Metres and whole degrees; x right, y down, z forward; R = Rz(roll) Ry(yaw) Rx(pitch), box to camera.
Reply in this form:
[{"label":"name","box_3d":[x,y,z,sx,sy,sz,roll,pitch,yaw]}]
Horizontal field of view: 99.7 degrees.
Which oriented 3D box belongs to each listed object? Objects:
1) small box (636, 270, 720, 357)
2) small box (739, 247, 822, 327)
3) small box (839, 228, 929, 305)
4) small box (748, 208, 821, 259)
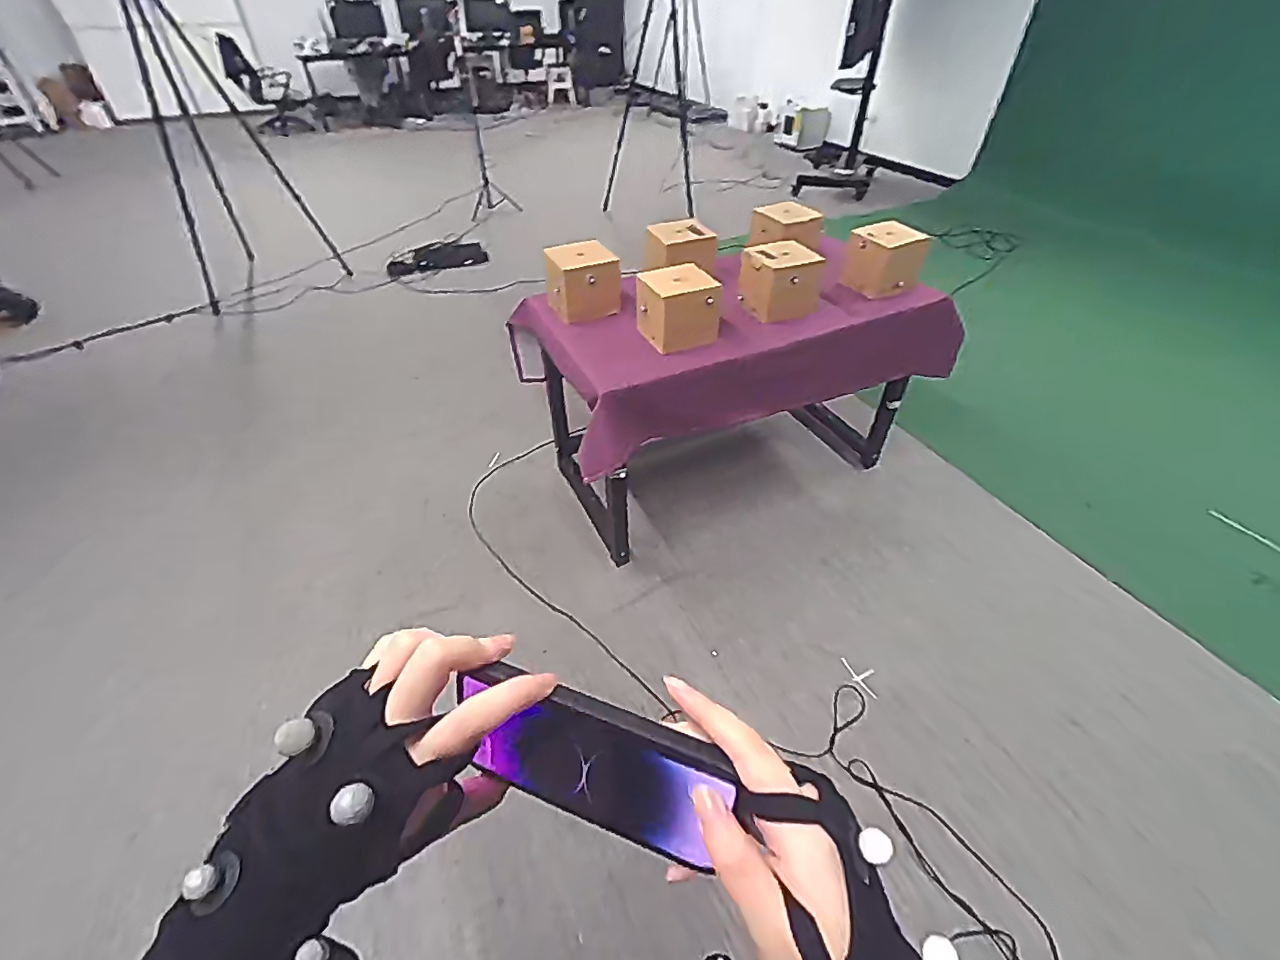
[{"label":"small box","box_3d":[0.100,-0.457,1.492,0.179,0.176,0.168,-17,45,-19]},{"label":"small box","box_3d":[0.410,-0.575,1.614,0.179,0.176,0.168,-16,46,-17]},{"label":"small box","box_3d":[0.769,-0.682,1.724,0.179,0.176,0.168,-20,46,-19]},{"label":"small box","box_3d":[0.489,-0.821,1.872,0.168,0.176,0.179,-21,48,-20]}]
